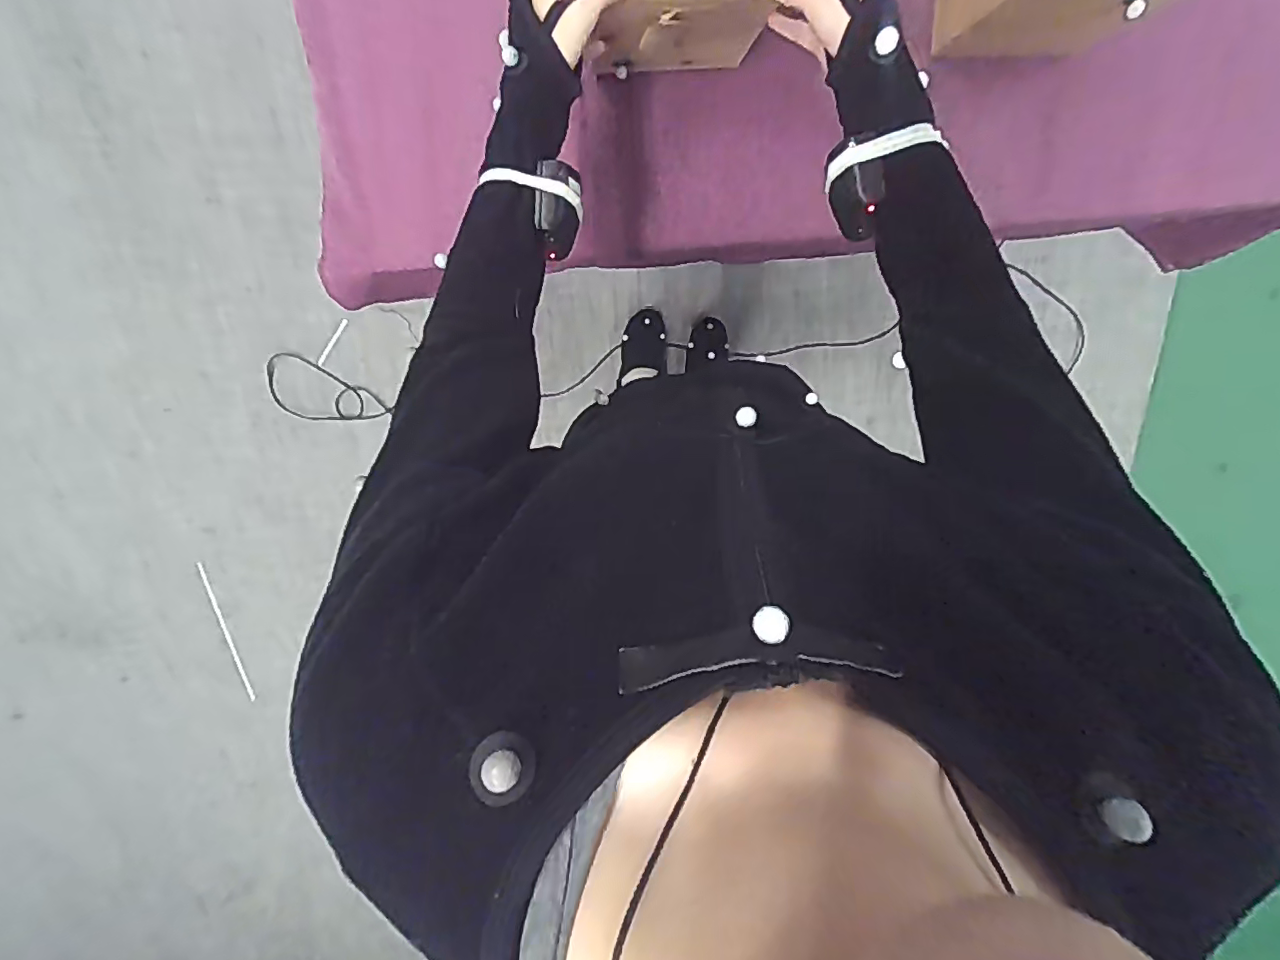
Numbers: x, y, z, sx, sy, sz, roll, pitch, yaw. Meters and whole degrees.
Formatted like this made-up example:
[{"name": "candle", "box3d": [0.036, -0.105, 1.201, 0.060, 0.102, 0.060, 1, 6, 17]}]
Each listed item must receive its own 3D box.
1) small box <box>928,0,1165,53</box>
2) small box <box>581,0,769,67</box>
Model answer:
[{"name": "small box", "box3d": [0.412, -0.537, 0.512, 0.179, 0.176, 0.168, -3, 109, -2]}, {"name": "small box", "box3d": [0.027, -0.505, 0.492, 0.168, 0.176, 0.179, -6, 109, -4]}]
